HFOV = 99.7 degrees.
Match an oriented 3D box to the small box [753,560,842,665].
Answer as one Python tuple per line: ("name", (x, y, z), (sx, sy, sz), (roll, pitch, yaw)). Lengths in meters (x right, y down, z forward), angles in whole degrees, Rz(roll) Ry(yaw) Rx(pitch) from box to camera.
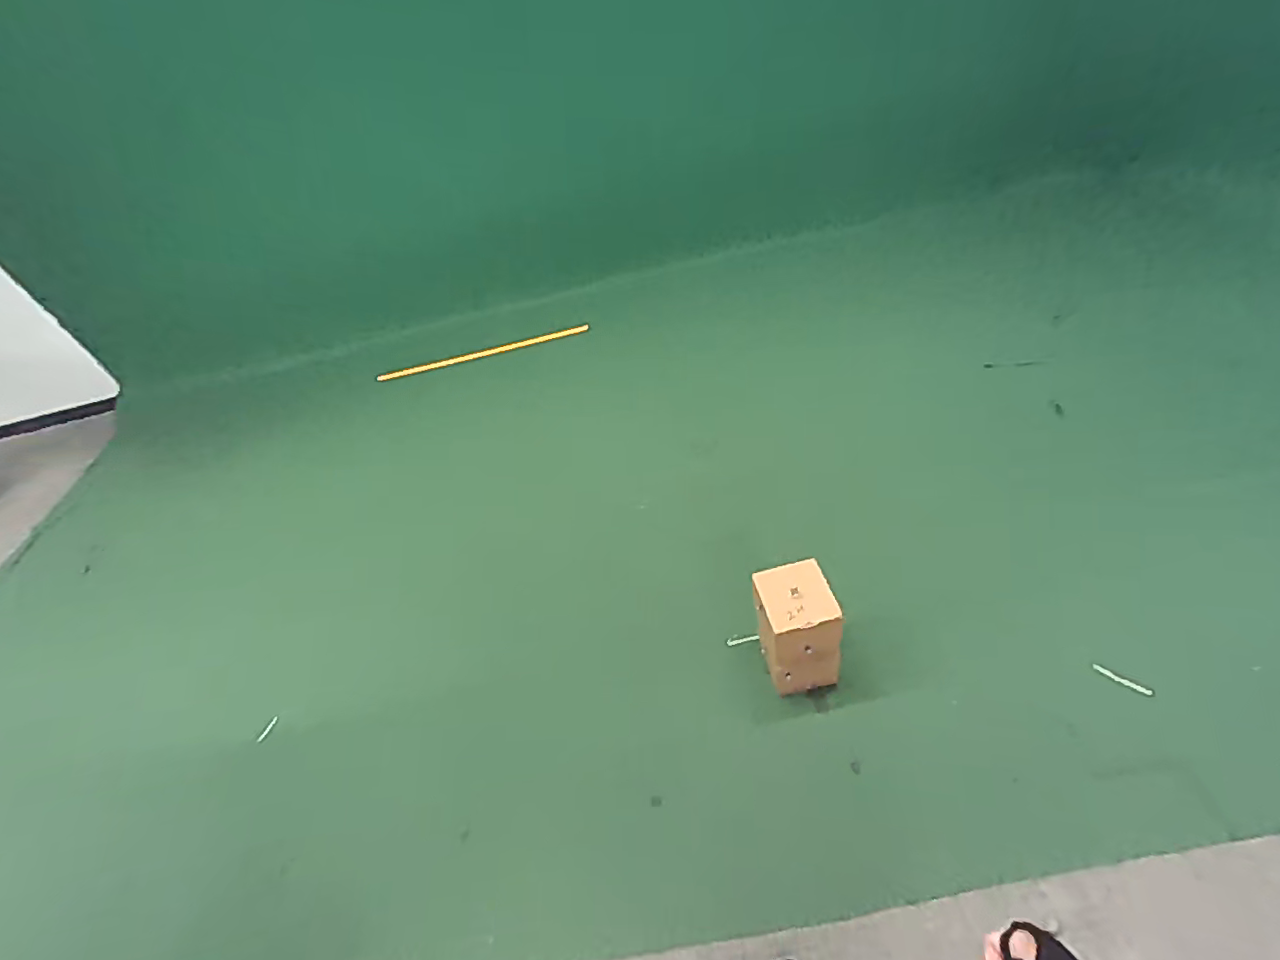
("small box", (0.389, 0.335, 1.363), (0.168, 0.176, 0.179), (-15, 44, 1))
